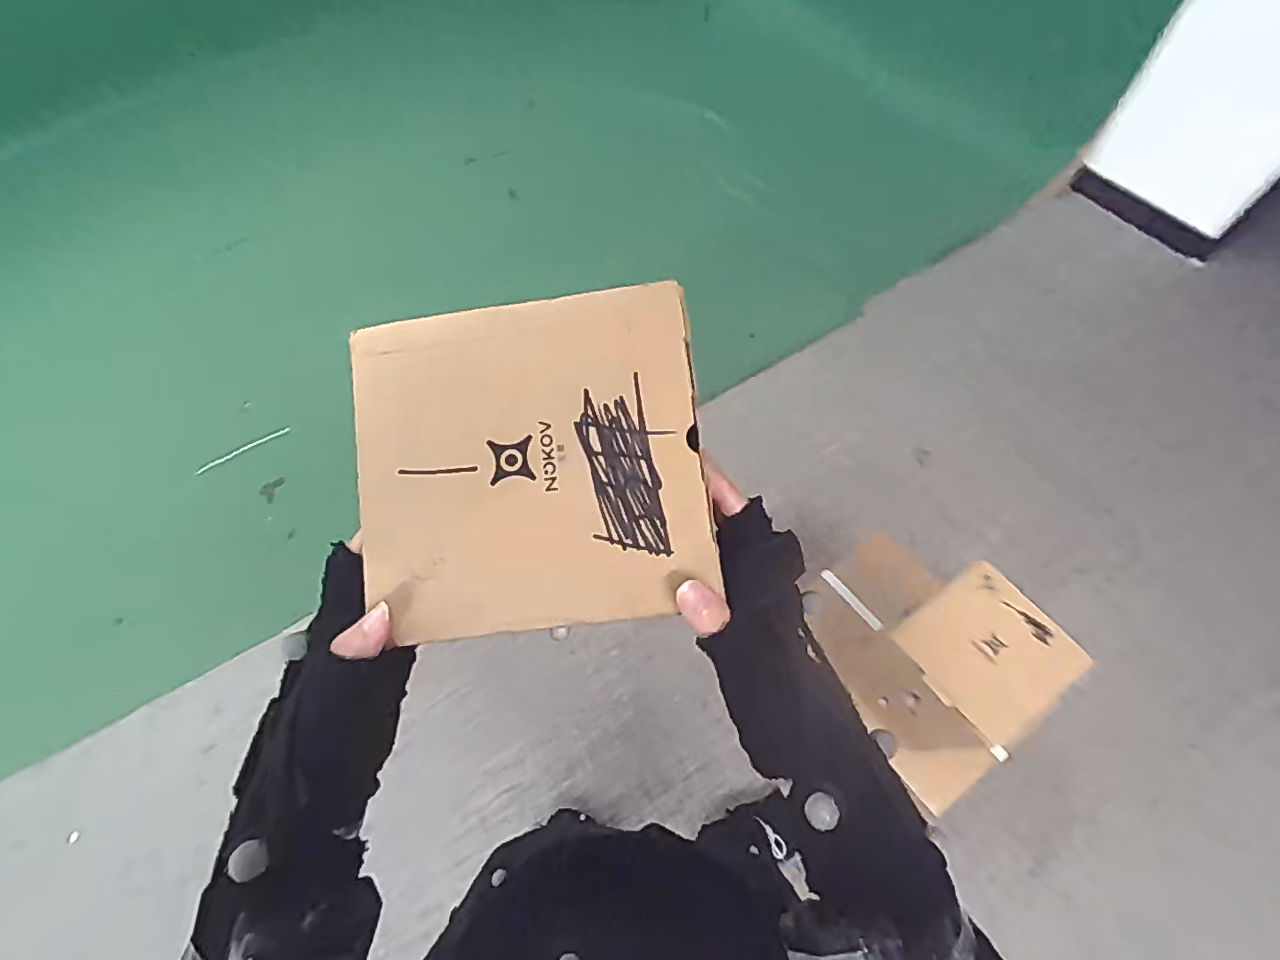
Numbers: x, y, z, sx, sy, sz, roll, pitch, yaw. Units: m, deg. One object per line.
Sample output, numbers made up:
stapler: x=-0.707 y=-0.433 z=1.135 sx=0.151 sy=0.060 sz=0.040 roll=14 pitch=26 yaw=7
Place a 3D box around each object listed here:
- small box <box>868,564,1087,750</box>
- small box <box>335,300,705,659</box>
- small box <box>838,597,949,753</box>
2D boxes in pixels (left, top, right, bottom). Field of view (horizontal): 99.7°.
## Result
small box: x=0.444 y=0.252 z=0.752 sx=0.179 sy=0.176 sz=0.168 roll=-34 pitch=64 yaw=-9
small box: x=-0.060 y=0.007 z=0.349 sx=0.179 sy=0.176 sz=0.168 roll=-8 pitch=82 yaw=2
small box: x=0.458 y=0.327 z=0.897 sx=0.168 sy=0.176 sz=0.179 roll=-33 pitch=65 yaw=-9
